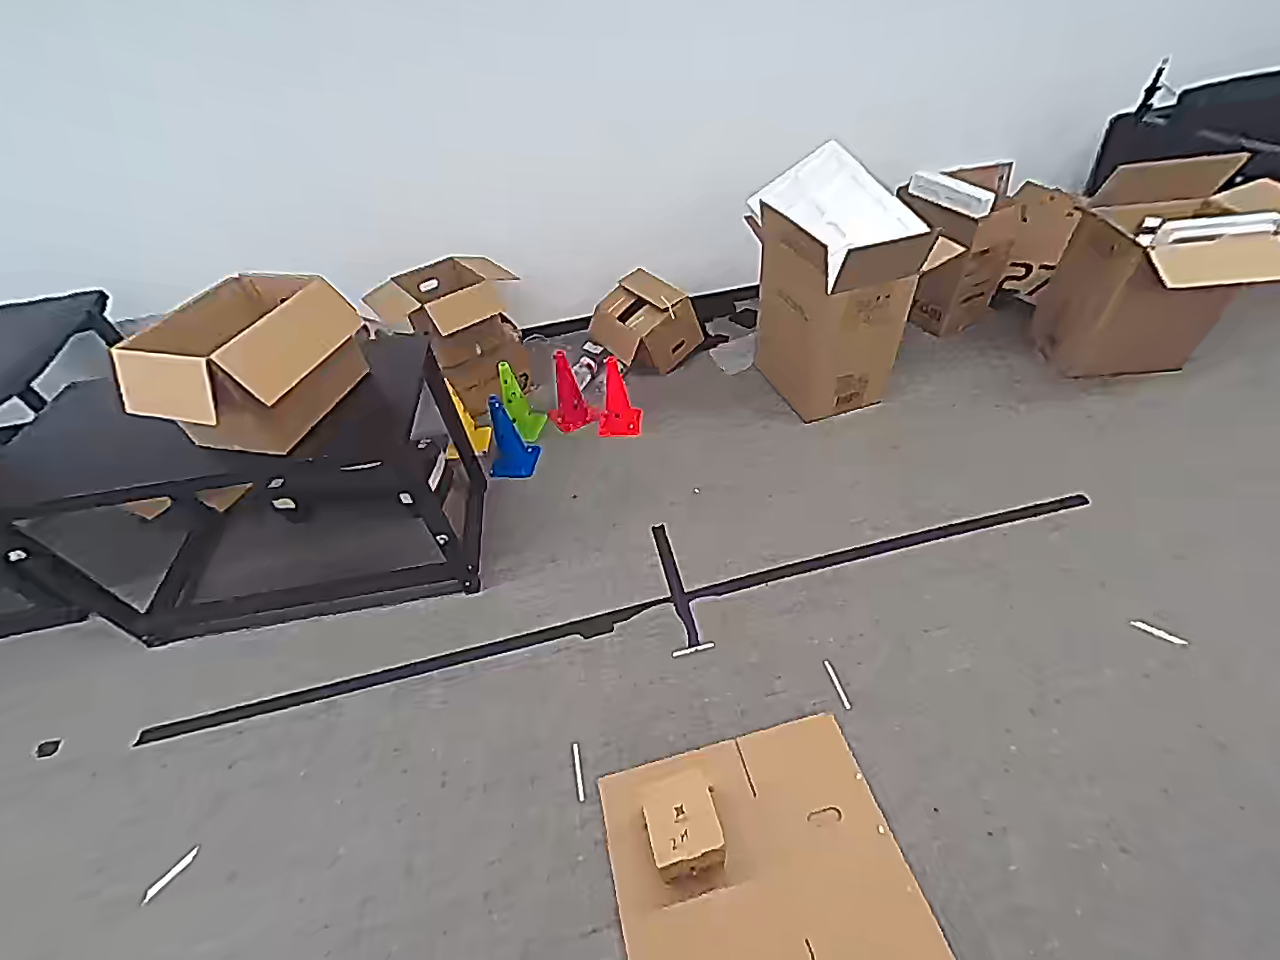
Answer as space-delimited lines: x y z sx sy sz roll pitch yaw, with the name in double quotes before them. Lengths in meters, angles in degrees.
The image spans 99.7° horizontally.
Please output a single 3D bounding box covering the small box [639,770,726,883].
"small box" 0.101 0.847 1.319 0.168 0.176 0.179 -14 46 -6
